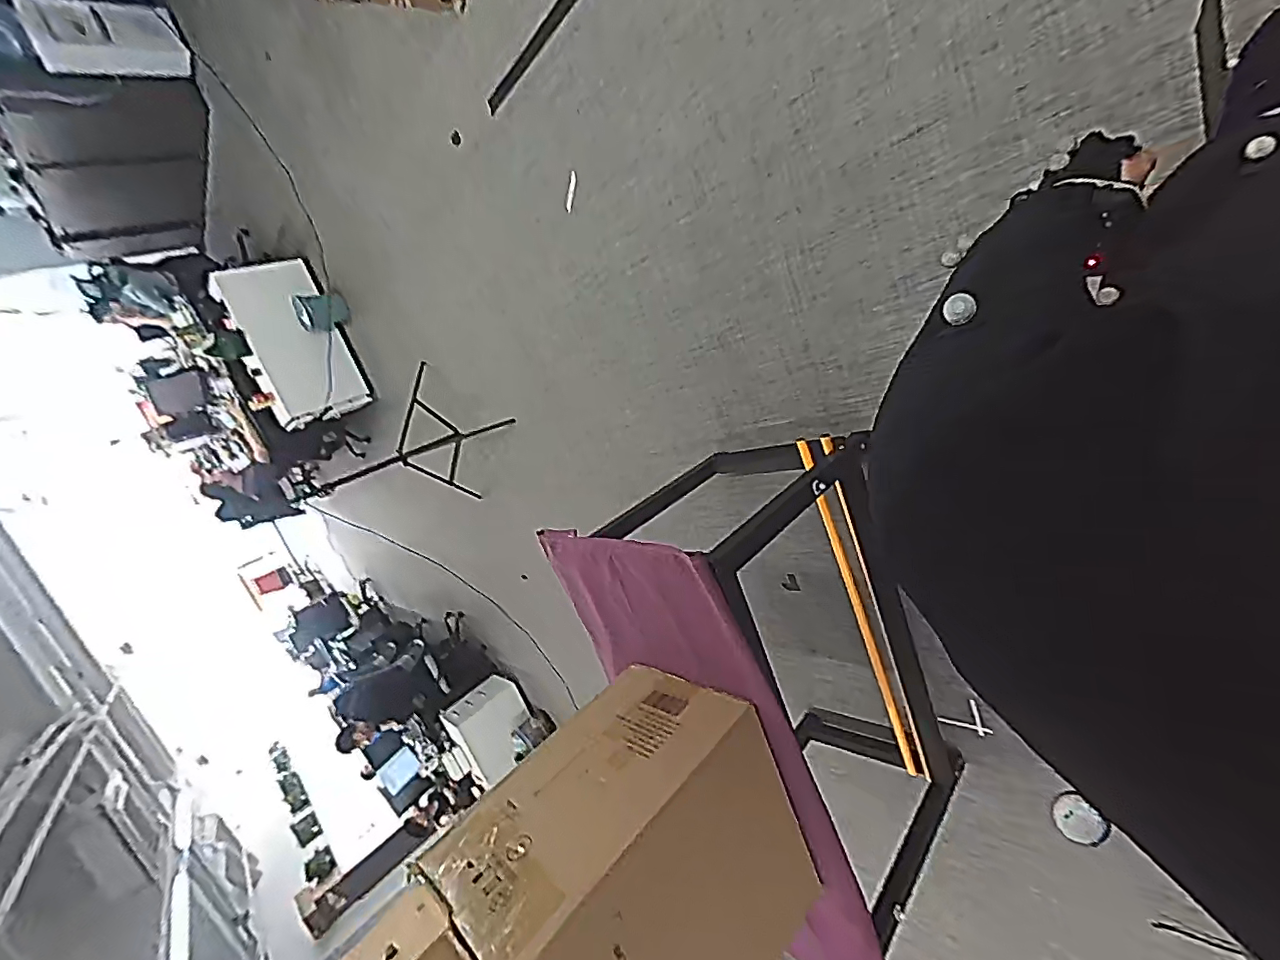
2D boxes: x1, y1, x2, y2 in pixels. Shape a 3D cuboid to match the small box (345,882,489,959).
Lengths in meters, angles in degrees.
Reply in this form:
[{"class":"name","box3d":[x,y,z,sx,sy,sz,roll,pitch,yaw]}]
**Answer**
[{"class":"small box","box3d":[-0.382,0.872,0.956,0.168,0.176,0.179,-13,107,52]}]
